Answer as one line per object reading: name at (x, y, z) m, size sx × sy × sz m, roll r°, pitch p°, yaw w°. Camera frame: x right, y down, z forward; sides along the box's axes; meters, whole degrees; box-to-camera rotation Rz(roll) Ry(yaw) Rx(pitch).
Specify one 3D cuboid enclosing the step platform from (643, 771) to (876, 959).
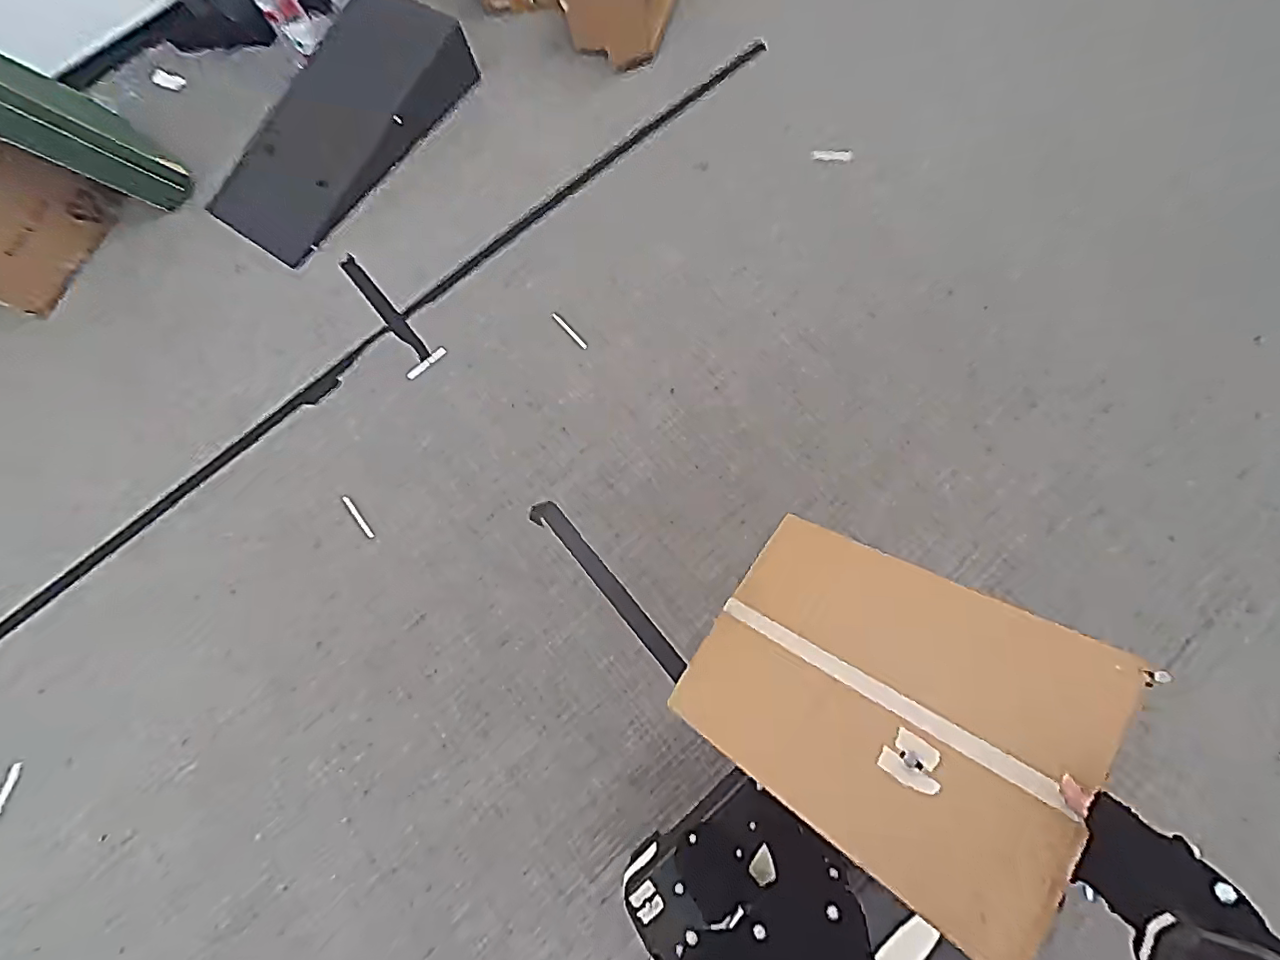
step platform at (0.330, 0.675, 1.107) m, size 0.684 × 0.204 × 0.286 m, roll -41°, pitch 72°, yaw -8°

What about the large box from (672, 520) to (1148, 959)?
large box at (0.325, 0.311, 0.713) m, size 0.408 × 0.320 × 0.320 m, roll 24°, pitch 74°, yaw 40°
